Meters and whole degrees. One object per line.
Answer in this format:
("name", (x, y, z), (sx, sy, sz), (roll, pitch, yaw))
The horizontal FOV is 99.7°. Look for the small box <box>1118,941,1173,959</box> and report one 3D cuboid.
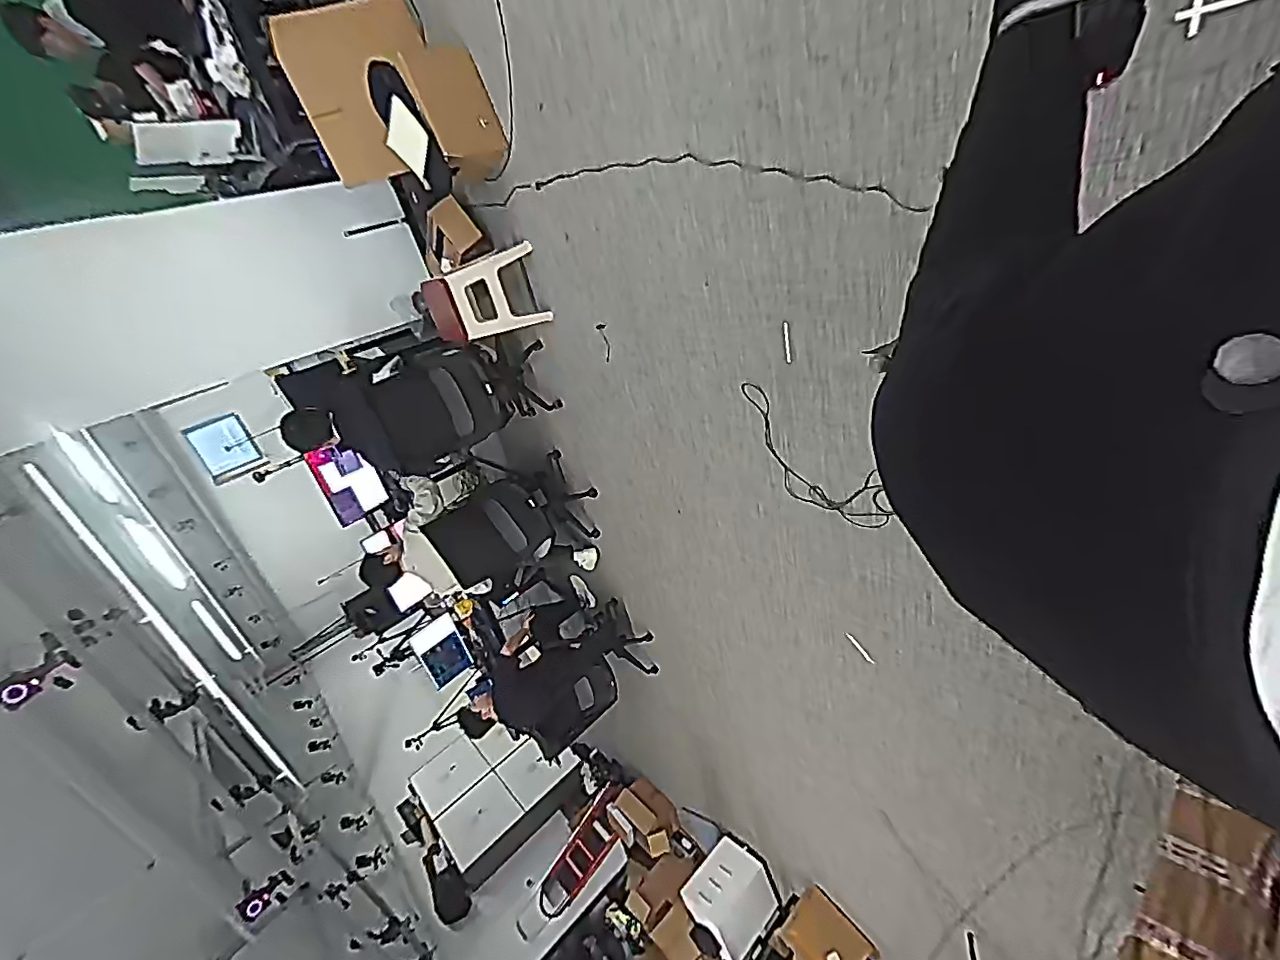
("small box", (1.201, 1.218, 1.238), (0.179, 0.176, 0.168), (10, 123, 51))
